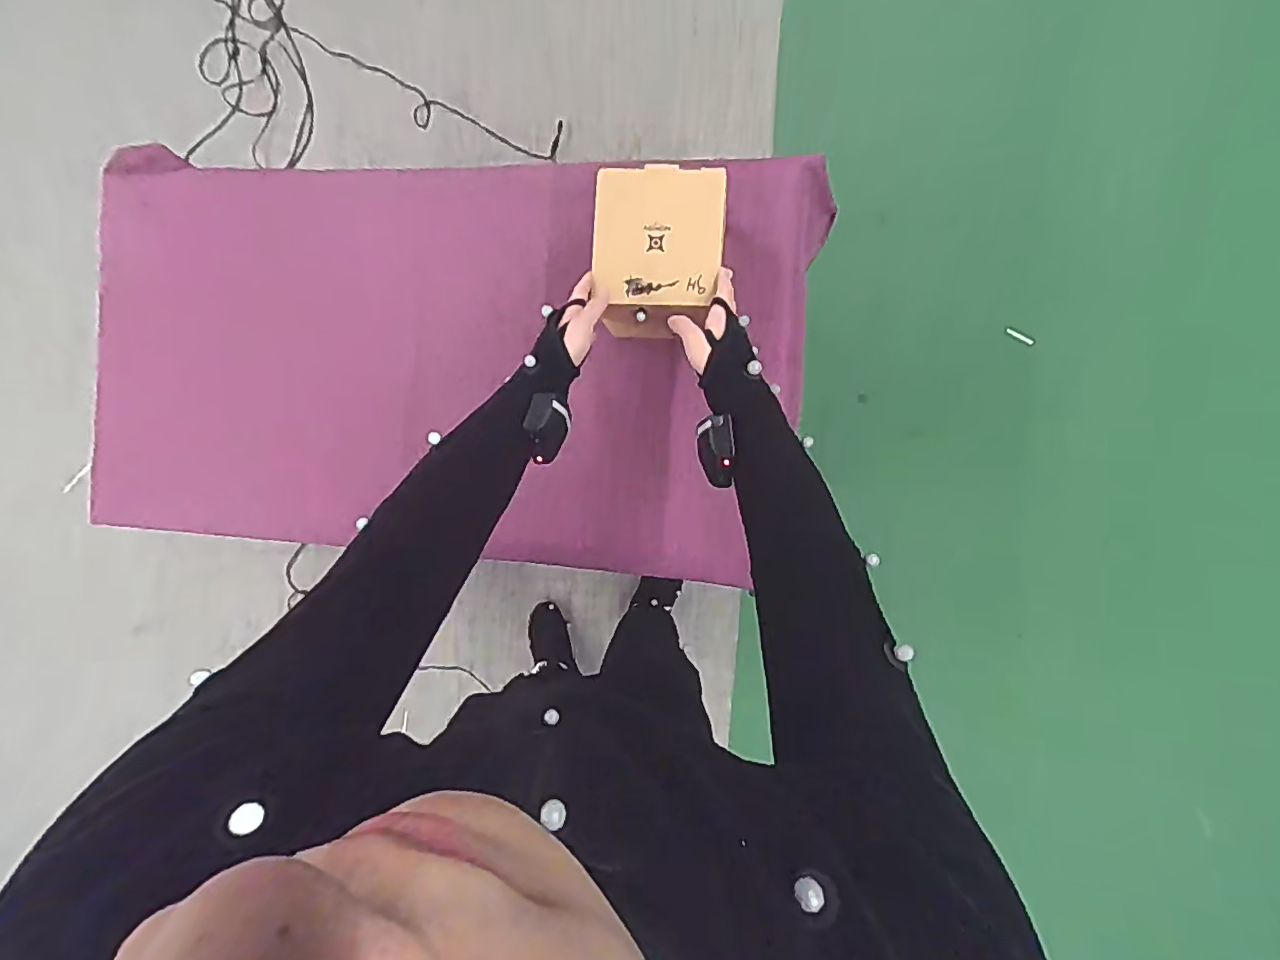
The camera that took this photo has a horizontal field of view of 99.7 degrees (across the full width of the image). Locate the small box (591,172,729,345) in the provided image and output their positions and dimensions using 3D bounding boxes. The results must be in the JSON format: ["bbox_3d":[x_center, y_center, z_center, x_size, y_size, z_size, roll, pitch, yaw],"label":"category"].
[{"bbox_3d":[0.033,-0.303,0.764,0.168,0.176,0.179,4,90,8],"label":"small box"}]
